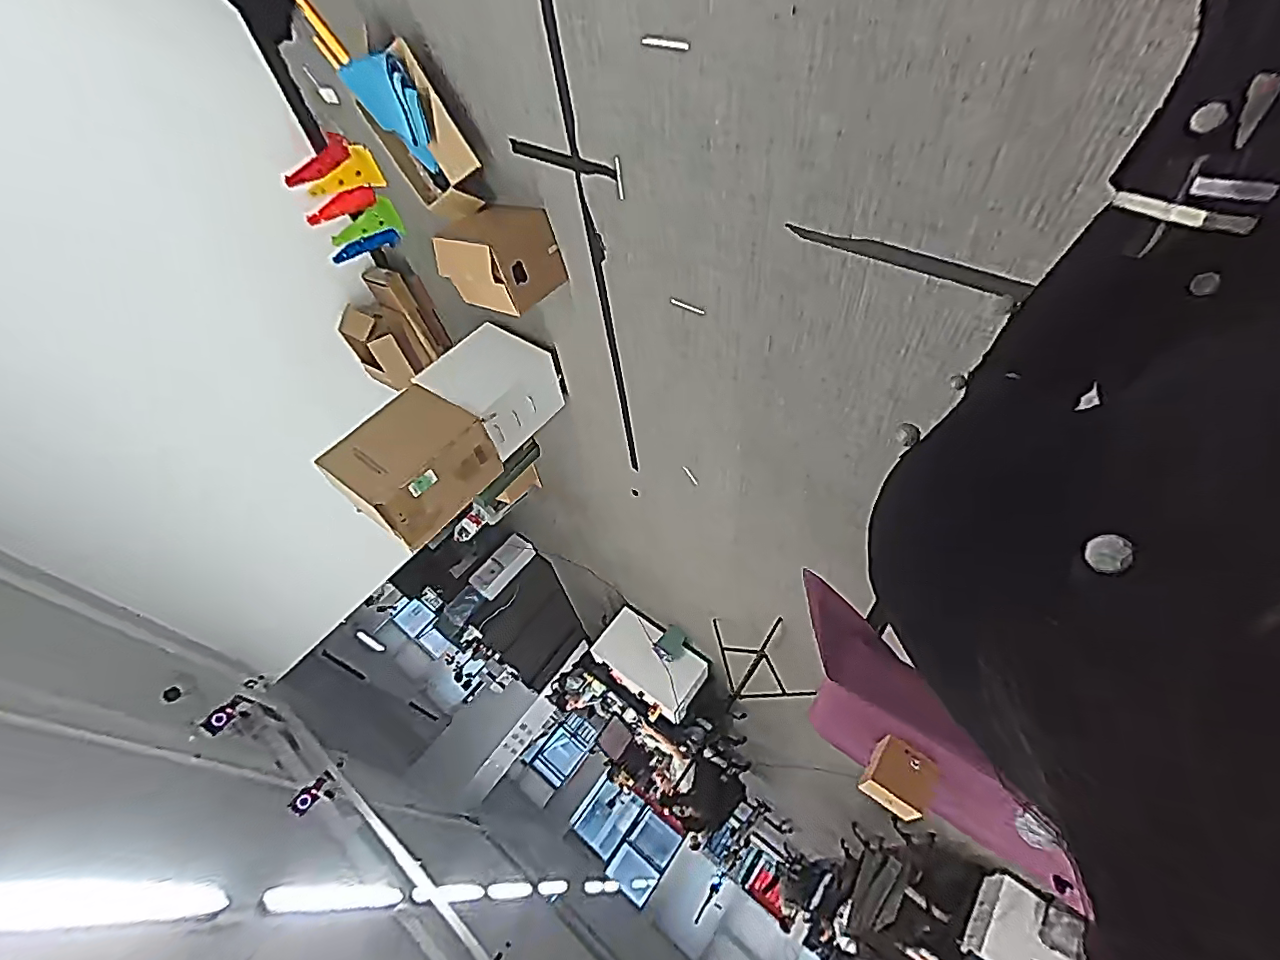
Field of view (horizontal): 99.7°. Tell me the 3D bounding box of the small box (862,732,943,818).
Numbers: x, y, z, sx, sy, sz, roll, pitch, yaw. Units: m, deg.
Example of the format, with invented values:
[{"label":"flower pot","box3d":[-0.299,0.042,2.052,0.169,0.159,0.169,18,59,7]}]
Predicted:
[{"label":"small box","box3d":[0.839,0.942,1.730,0.168,0.176,0.179,28,151,26]}]
